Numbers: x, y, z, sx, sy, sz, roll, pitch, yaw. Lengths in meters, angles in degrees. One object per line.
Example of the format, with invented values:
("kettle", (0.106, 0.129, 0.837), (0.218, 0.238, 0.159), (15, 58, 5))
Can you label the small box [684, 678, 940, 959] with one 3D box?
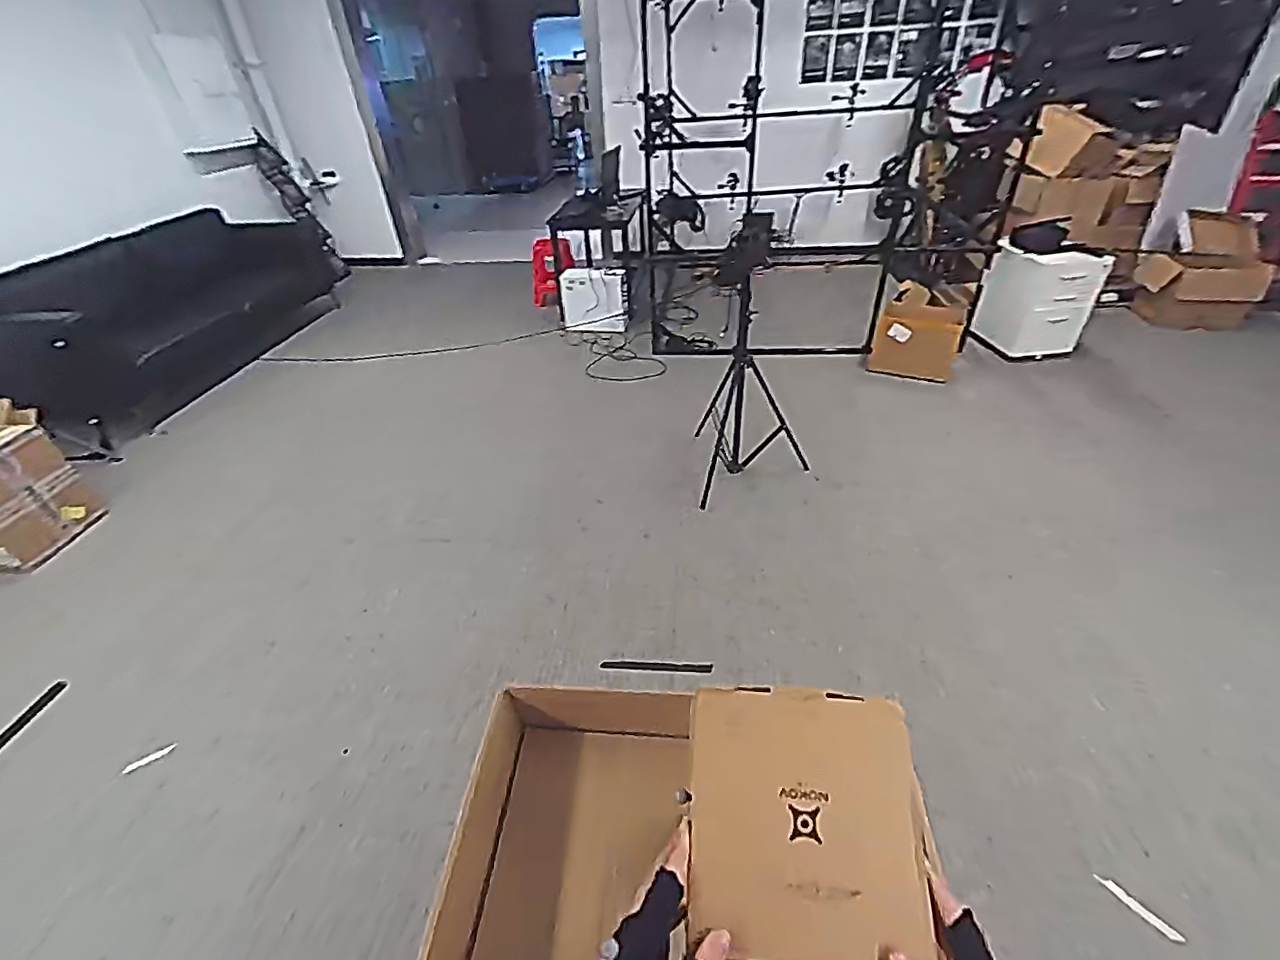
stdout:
("small box", (0.125, 0.281, 0.465), (0.168, 0.176, 0.179), (3, 62, 5))
